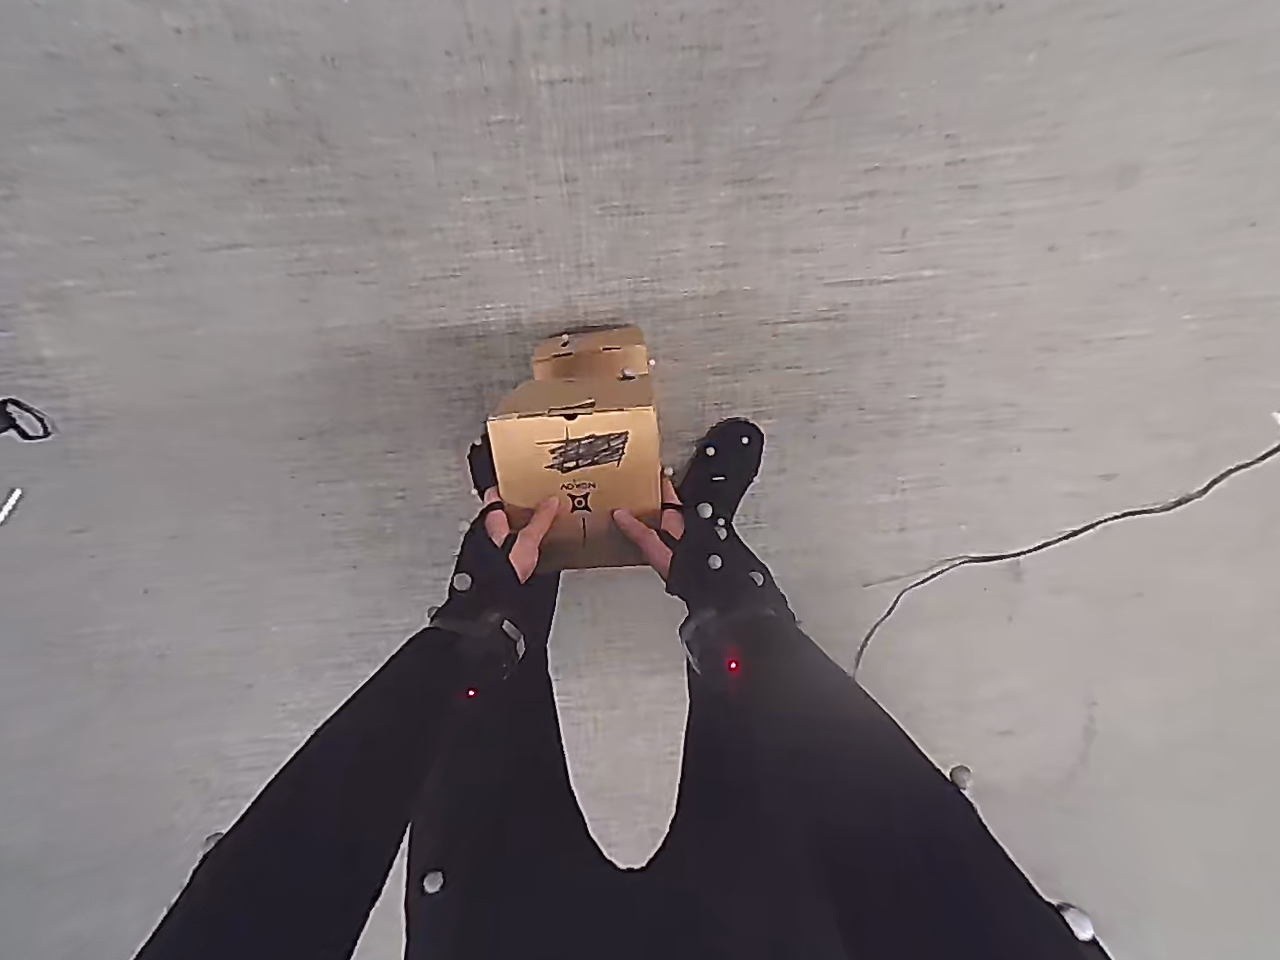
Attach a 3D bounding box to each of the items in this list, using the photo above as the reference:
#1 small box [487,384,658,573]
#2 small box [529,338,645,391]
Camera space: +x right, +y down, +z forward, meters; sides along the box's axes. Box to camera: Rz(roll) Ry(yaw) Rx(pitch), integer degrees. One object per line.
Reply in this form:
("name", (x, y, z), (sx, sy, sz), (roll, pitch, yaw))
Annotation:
("small box", (-0.066, -0.012, 0.638), (0.168, 0.176, 0.179), (-4, 113, 2))
("small box", (-0.075, -0.129, 0.880), (0.168, 0.176, 0.179), (-7, 115, 1))
